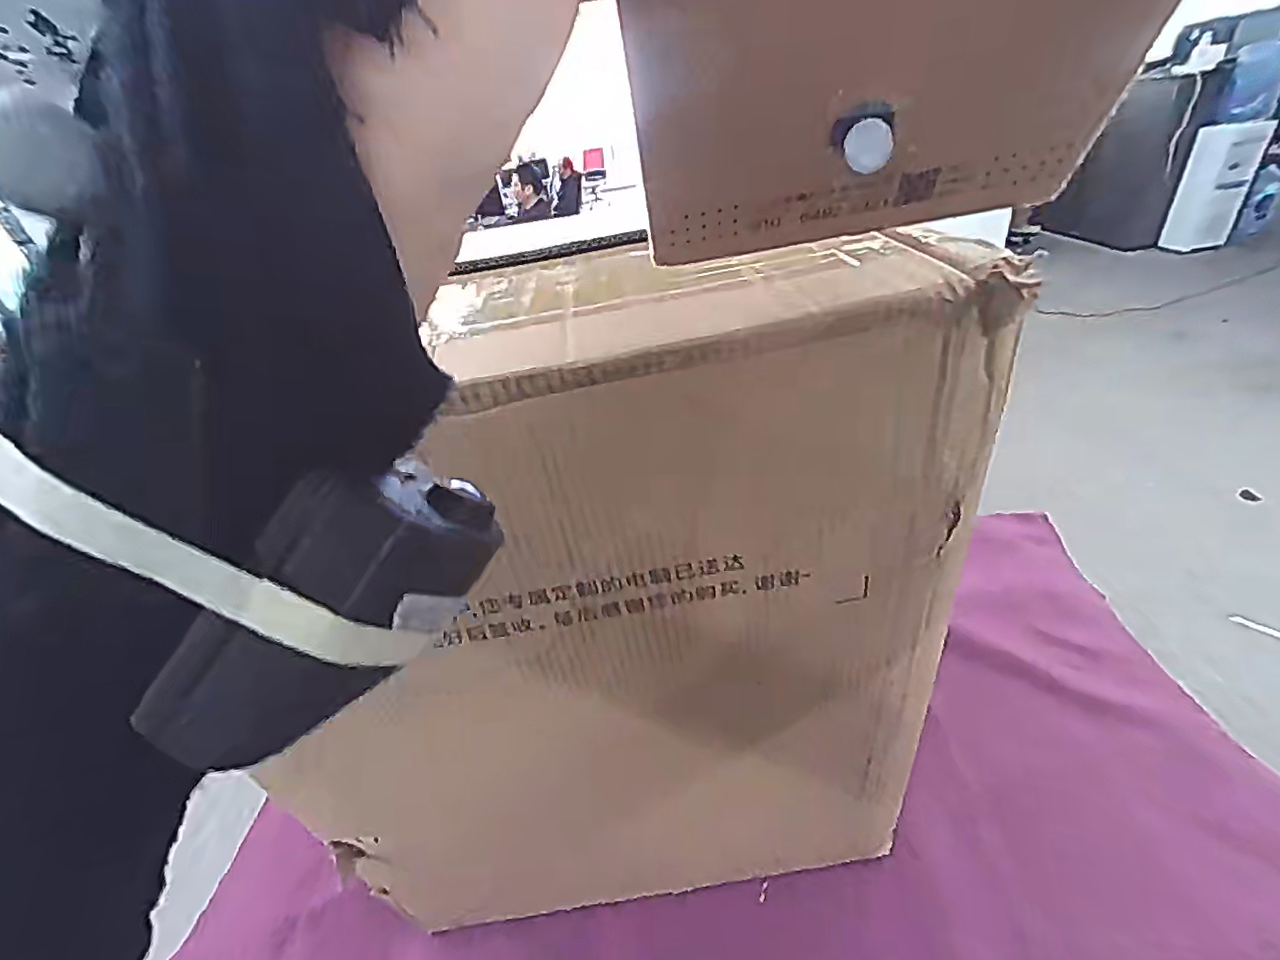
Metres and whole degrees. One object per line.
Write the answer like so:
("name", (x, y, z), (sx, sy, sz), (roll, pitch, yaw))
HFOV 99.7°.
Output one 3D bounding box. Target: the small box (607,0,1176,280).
("small box", (0.069, -0.206, 0.194), (0.168, 0.176, 0.179), (-8, 68, 6))
